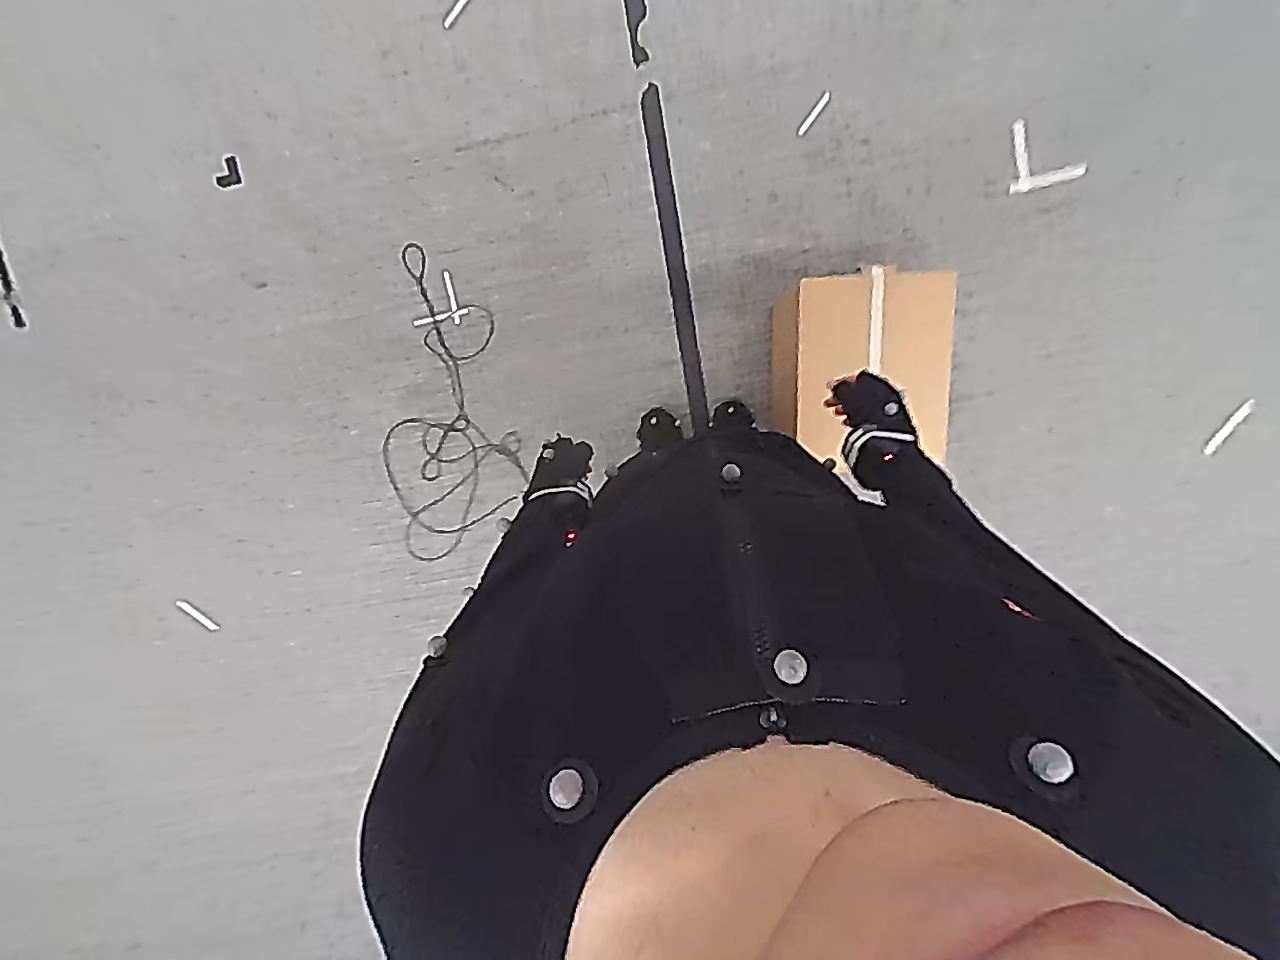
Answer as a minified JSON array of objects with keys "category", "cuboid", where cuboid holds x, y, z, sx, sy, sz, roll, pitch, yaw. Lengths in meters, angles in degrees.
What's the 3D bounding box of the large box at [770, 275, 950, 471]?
[{"category":"large box","cuboid":[0.497,-0.248,1.292,0.320,0.320,0.408,-2,101,4]}]
